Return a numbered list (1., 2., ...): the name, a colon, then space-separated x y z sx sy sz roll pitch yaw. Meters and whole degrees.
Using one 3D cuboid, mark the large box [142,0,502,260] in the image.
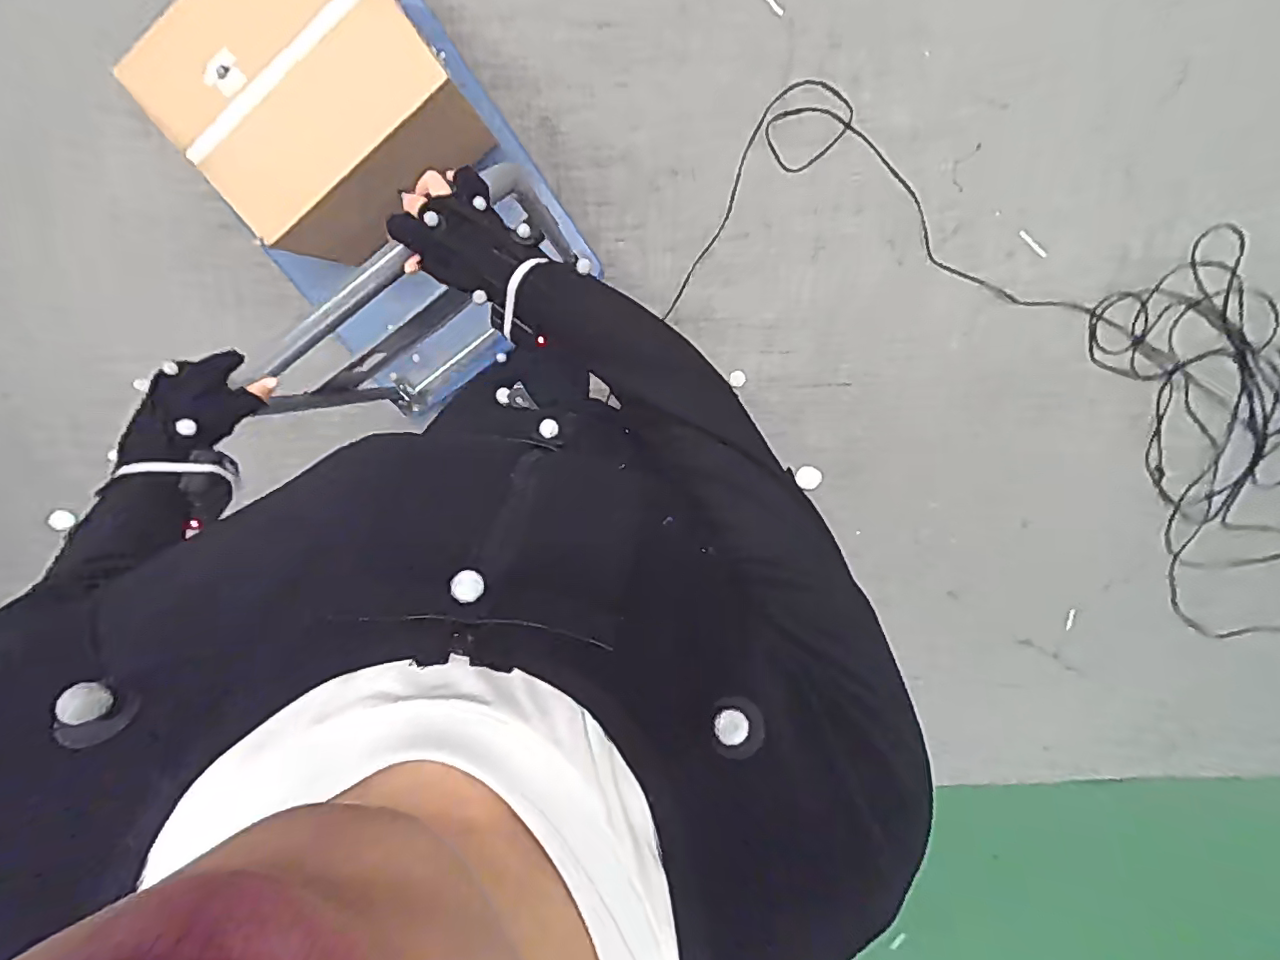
1. large box: -0.527 -0.665 0.980 0.408 0.320 0.320 -36 102 10
